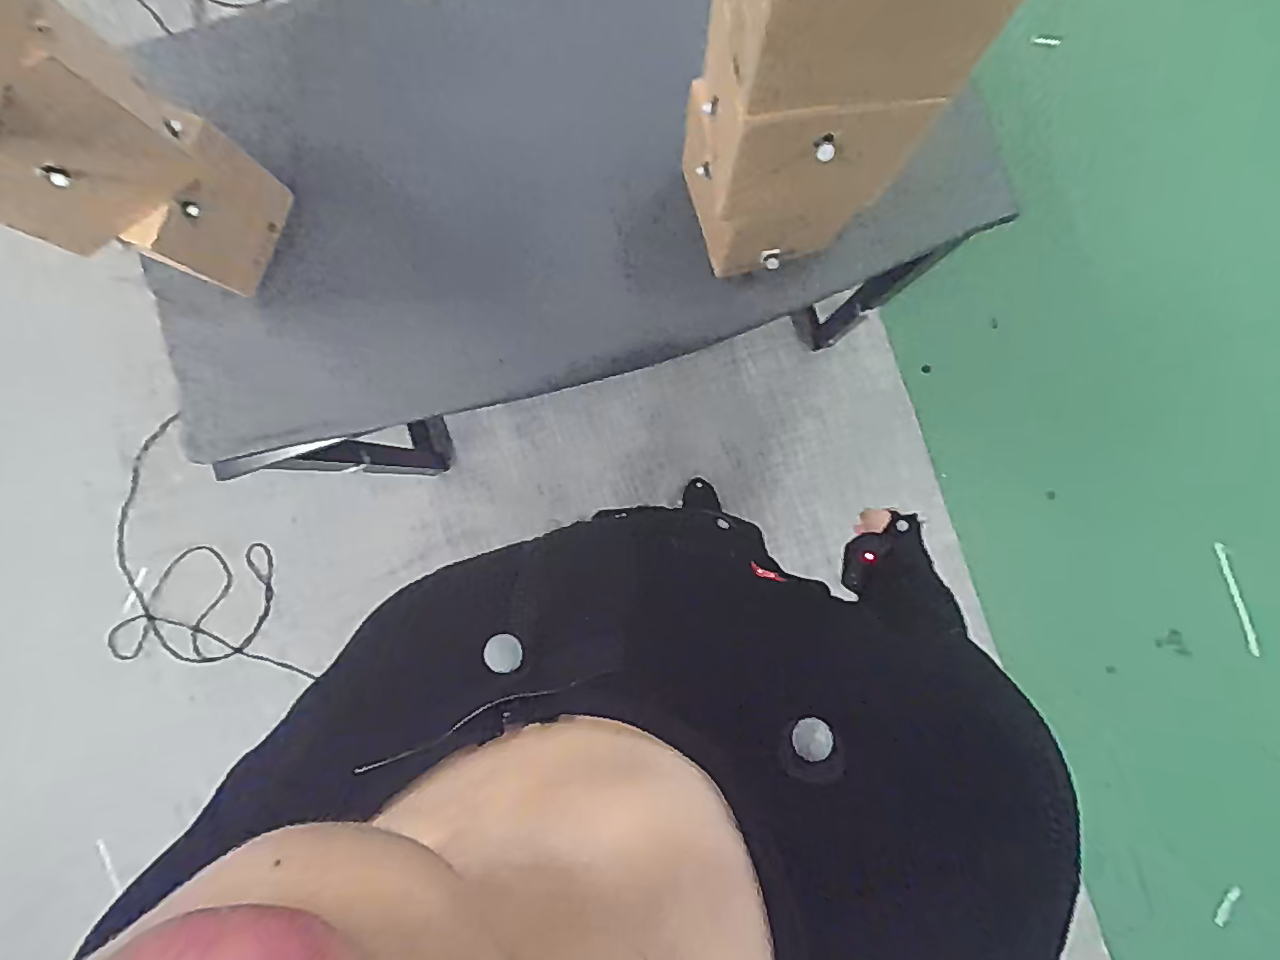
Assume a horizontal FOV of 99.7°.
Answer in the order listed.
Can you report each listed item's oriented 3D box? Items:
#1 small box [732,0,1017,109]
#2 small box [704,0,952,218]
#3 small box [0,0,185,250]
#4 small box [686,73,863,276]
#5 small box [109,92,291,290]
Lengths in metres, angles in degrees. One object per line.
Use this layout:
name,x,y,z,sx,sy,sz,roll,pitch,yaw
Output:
small box,0.160,-0.386,0.356,0.179,0.176,0.168,-5,88,2
small box,0.162,-0.379,0.521,0.179,0.176,0.168,-6,88,2
small box,-0.607,-0.367,0.530,0.179,0.176,0.168,-36,90,1
small box,0.161,-0.390,0.683,0.168,0.176,0.179,-17,89,2
small box,-0.606,-0.371,0.694,0.179,0.176,0.168,22,90,1
